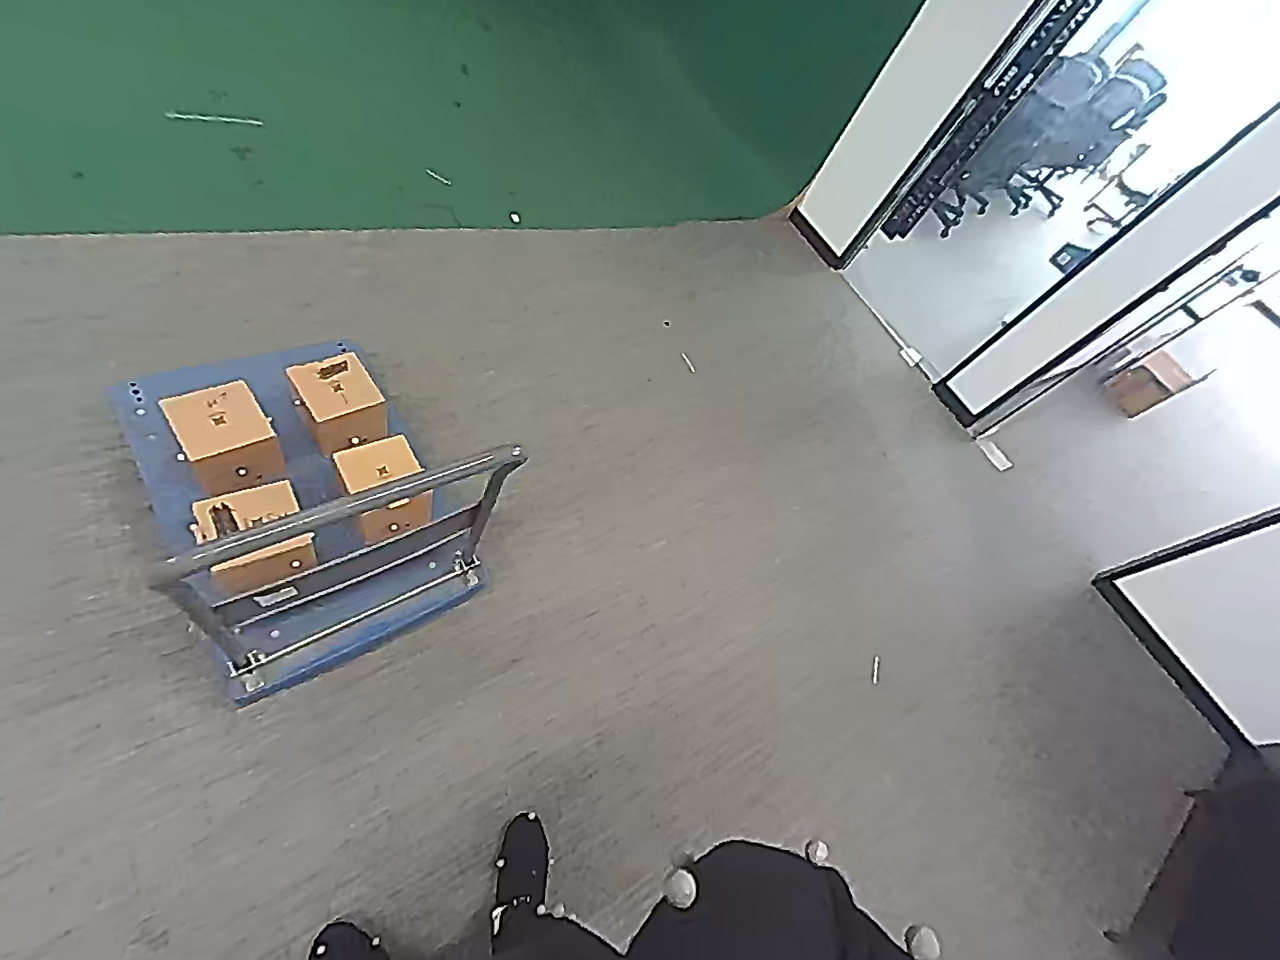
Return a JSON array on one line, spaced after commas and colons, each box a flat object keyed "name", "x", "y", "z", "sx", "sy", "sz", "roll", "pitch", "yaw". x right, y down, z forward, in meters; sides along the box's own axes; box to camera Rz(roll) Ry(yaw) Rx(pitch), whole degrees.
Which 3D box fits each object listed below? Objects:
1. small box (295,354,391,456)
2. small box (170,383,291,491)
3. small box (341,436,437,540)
[{"name": "small box", "x": -0.778, "y": -0.195, "z": 1.426, "sx": 0.168, "sy": 0.176, "sz": 0.179, "roll": -29, "pitch": 75, "yaw": -33}, {"name": "small box", "x": -0.959, "y": -0.095, "z": 1.283, "sx": 0.168, "sy": 0.176, "sz": 0.179, "roll": -28, "pitch": 74, "yaw": -35}, {"name": "small box", "x": -0.630, "y": 0.021, "z": 1.357, "sx": 0.168, "sy": 0.176, "sz": 0.179, "roll": -23, "pitch": 72, "yaw": -33}]
